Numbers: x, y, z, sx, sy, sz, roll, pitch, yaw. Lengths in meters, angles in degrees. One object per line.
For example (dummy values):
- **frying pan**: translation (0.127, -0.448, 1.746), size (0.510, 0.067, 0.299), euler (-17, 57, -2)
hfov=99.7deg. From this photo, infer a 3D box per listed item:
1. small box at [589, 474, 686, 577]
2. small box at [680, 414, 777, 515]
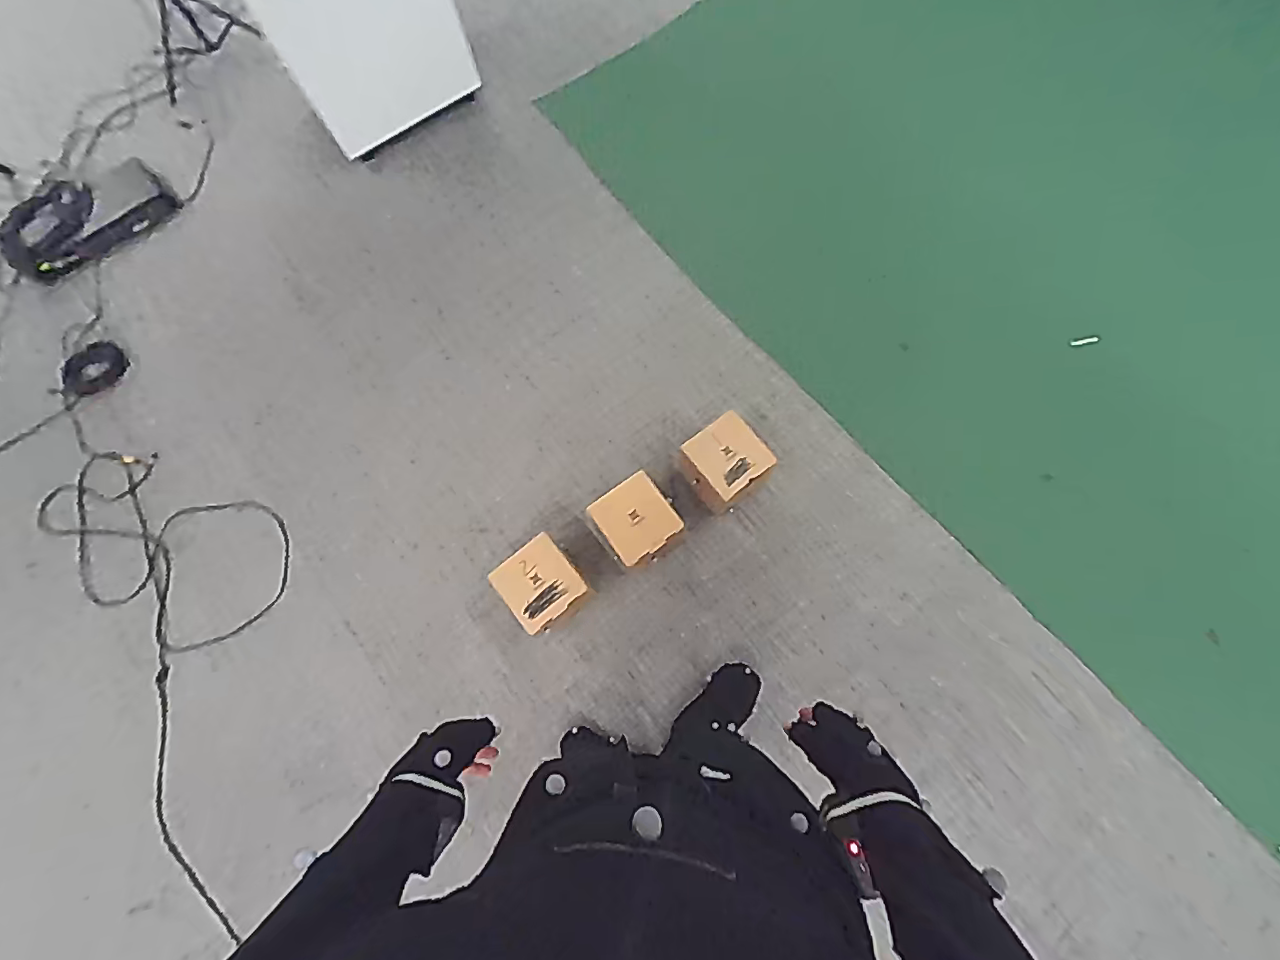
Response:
- **small box**: translation (-0.006, 0.118, 1.334), size (0.168, 0.176, 0.179), euler (-35, 75, -8)
- **small box**: translation (0.217, -0.029, 1.369), size (0.168, 0.176, 0.179), euler (-36, 74, -8)
